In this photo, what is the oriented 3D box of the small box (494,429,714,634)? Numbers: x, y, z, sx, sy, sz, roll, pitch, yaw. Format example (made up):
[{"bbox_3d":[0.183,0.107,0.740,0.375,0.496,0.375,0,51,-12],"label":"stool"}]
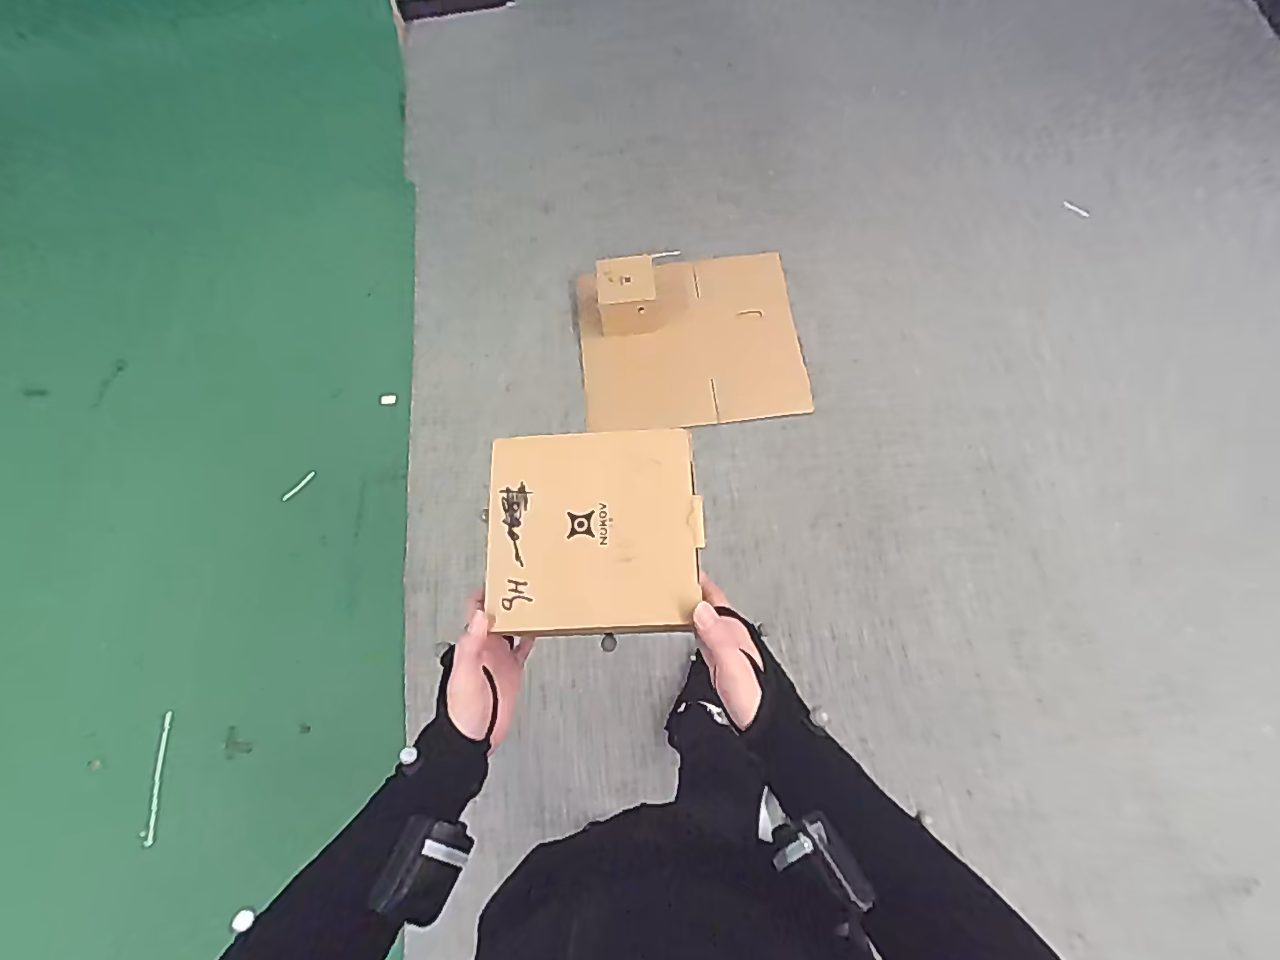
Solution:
[{"bbox_3d":[-0.028,0.059,0.522,0.179,0.176,0.168,-2,71,1],"label":"small box"}]

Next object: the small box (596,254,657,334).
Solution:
[{"bbox_3d":[-0.039,-0.579,1.695,0.179,0.176,0.168,-5,71,2],"label":"small box"}]
